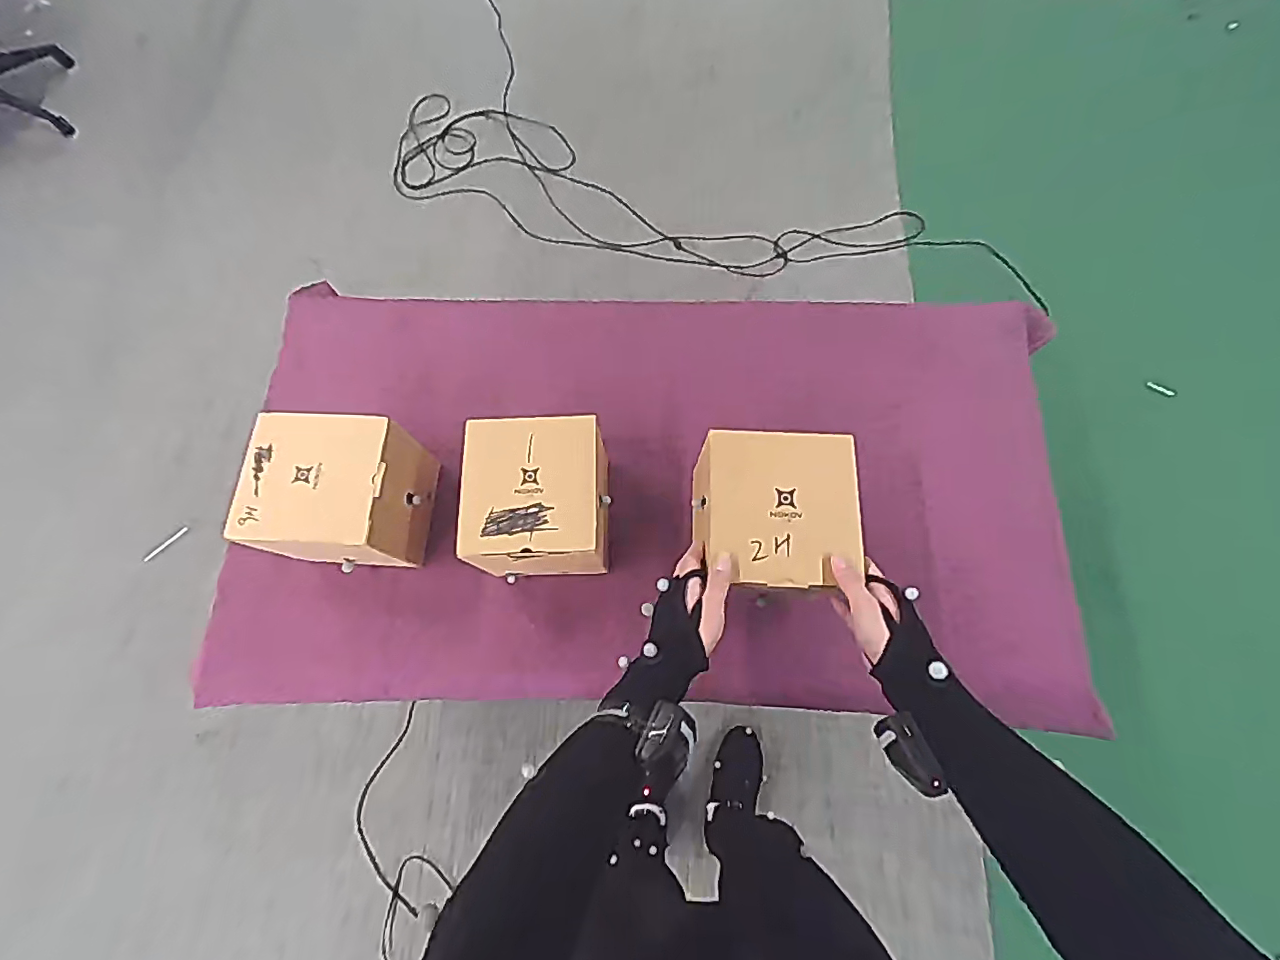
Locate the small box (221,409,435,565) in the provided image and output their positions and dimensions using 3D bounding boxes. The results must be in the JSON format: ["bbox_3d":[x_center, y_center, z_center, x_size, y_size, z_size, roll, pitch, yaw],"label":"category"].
[{"bbox_3d":[-0.397,0.018,0.727,0.179,0.176,0.168,3,72,1],"label":"small box"}]

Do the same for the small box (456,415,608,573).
[{"bbox_3d":[-0.130,0.028,0.719,0.168,0.176,0.179,-1,72,0],"label":"small box"}]

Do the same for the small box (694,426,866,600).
[{"bbox_3d":[0.158,0.049,0.664,0.168,0.176,0.179,3,74,0],"label":"small box"}]
